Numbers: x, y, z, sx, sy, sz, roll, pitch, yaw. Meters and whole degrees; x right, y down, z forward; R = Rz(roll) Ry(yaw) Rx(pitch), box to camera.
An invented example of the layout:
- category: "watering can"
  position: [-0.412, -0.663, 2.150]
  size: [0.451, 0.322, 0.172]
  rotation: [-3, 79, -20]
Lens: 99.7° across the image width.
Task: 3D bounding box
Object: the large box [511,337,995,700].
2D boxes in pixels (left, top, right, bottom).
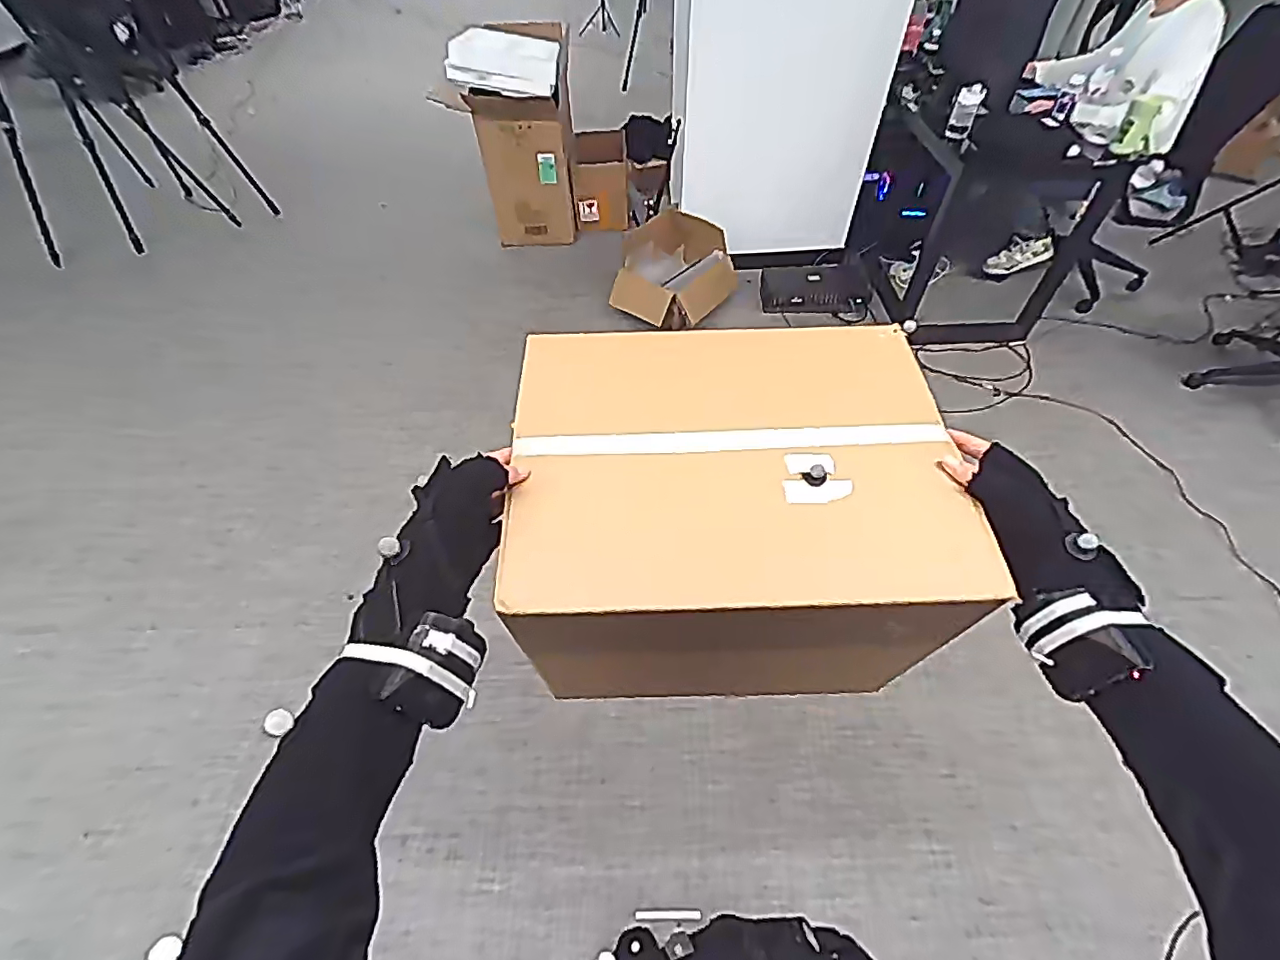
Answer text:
- category: "large box"
  position: [0.086, 0.057, 0.639]
  size: [0.408, 0.320, 0.320]
  rotation: [-2, 57, -1]
